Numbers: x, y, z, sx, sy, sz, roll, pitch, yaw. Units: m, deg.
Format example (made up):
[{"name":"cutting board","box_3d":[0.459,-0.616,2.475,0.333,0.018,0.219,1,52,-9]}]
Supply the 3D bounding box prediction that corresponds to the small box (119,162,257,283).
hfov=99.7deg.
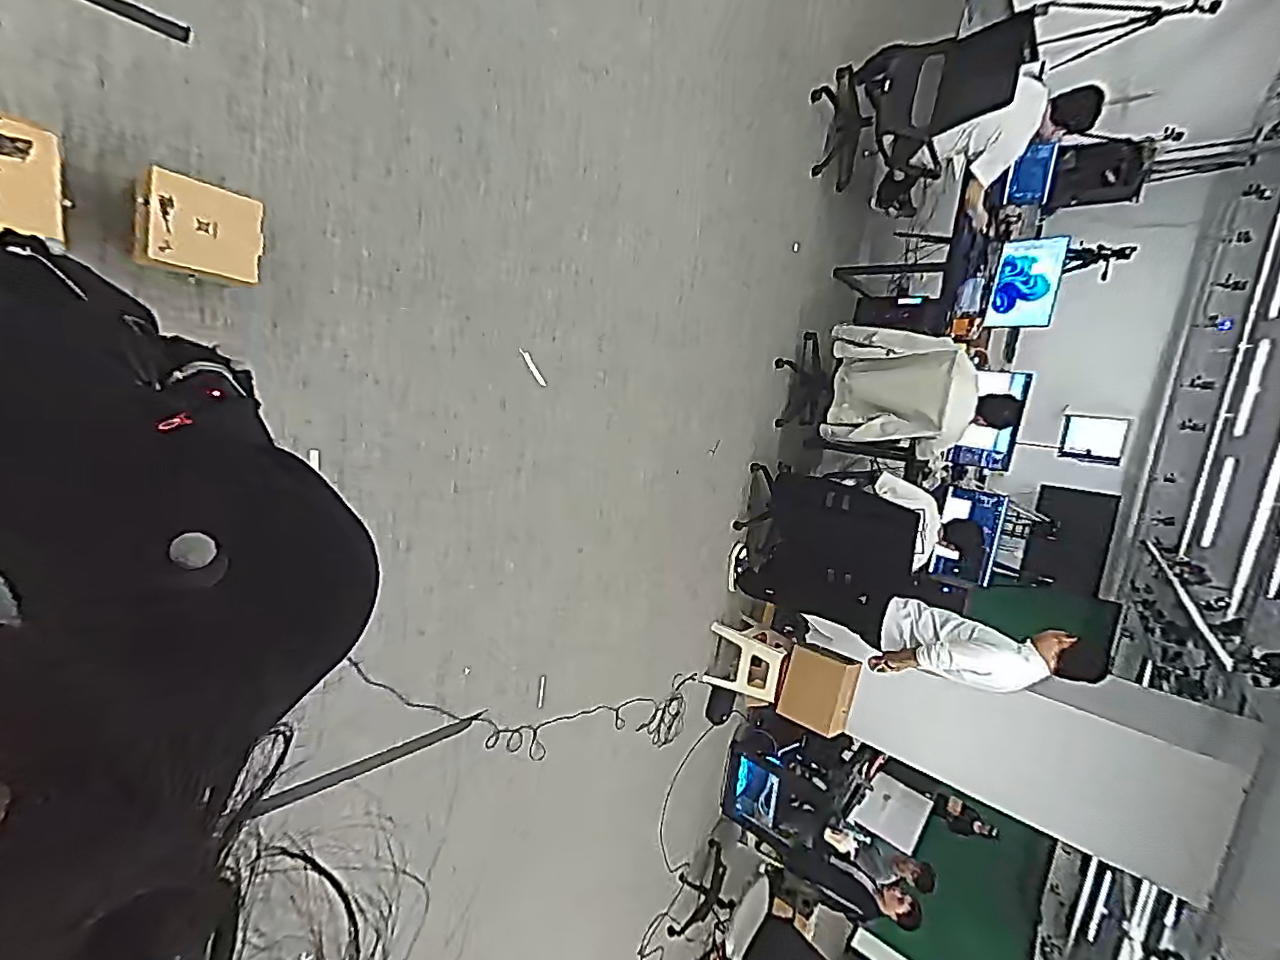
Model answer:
[{"name":"small box","box_3d":[-0.909,-0.507,1.089,0.179,0.176,0.168,2,101,-52]}]

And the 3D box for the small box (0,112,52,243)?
[{"name":"small box","box_3d":[-1.082,-0.500,0.873,0.168,0.176,0.179,-4,105,-50]}]
